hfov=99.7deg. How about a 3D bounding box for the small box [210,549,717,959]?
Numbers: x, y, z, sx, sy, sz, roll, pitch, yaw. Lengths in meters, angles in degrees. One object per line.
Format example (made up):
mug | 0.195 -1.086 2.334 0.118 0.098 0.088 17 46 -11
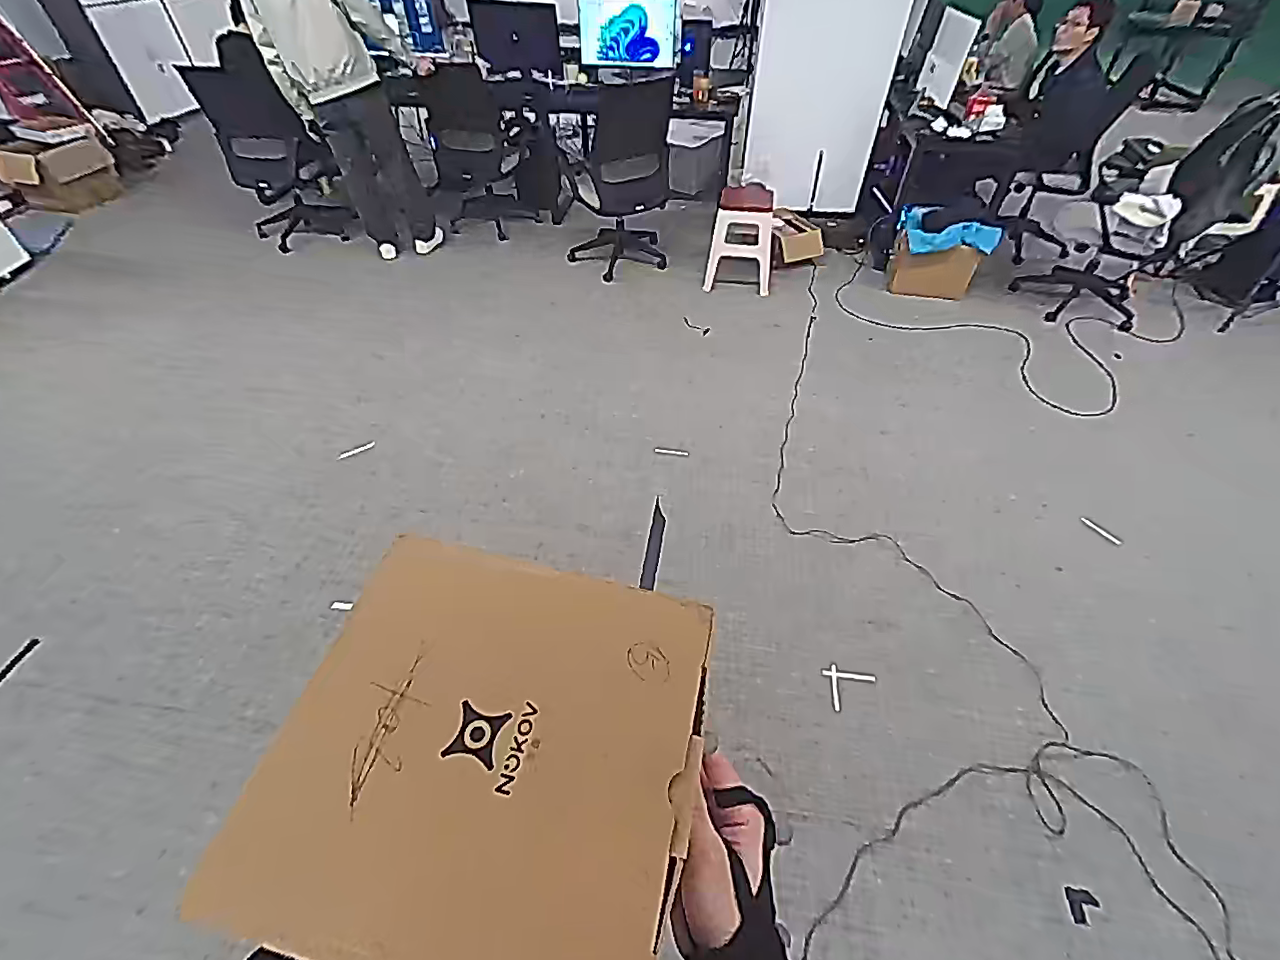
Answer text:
small box | -0.063 0.164 0.305 0.179 0.176 0.168 11 54 8
